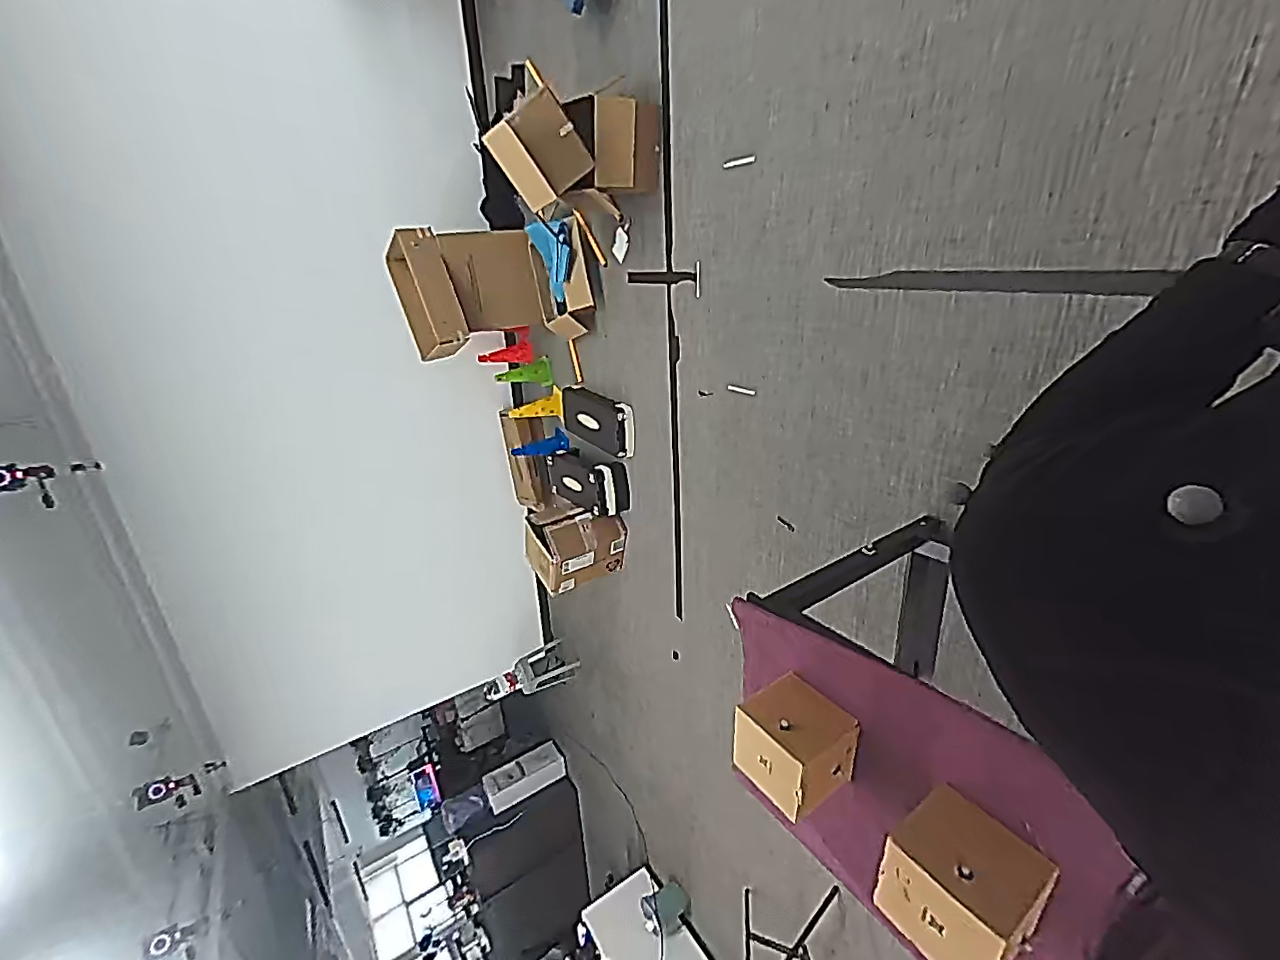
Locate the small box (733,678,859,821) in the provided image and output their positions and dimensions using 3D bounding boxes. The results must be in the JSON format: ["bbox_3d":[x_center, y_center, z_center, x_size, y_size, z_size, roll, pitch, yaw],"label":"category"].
[{"bbox_3d":[0.314,0.534,1.104,0.179,0.176,0.168,29,129,49],"label":"small box"}]

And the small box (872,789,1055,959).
[{"bbox_3d":[0.500,0.633,0.843,0.179,0.176,0.168,30,128,50],"label":"small box"}]
